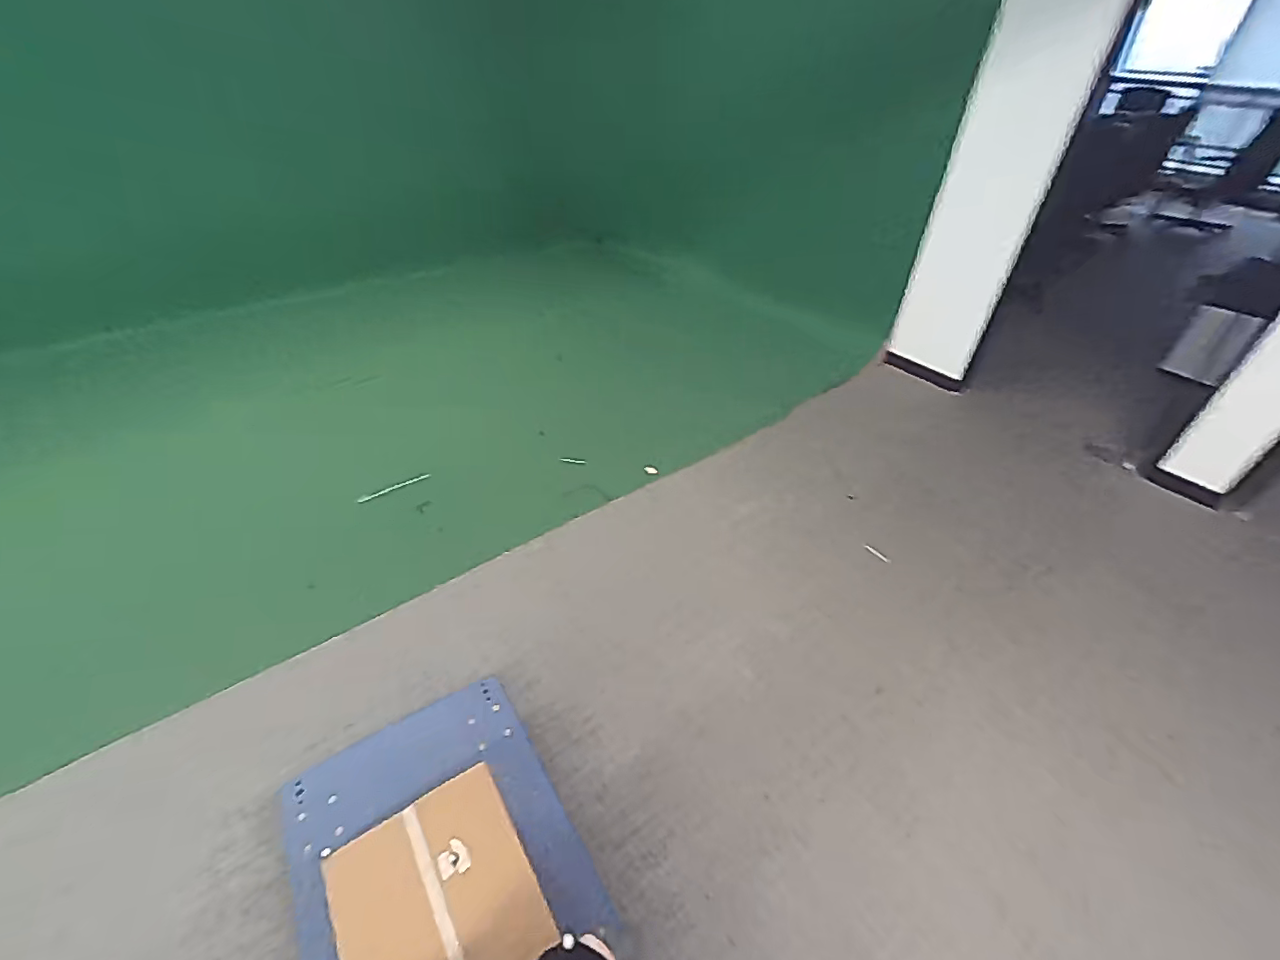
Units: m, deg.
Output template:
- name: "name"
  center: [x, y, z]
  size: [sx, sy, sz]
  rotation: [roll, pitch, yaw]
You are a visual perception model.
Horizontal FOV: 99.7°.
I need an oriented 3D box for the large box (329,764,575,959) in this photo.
- name: "large box"
  center: [-0.336, 0.860, 1.030]
  size: [0.320, 0.320, 0.408]
  rotation: [-23, 45, -25]
